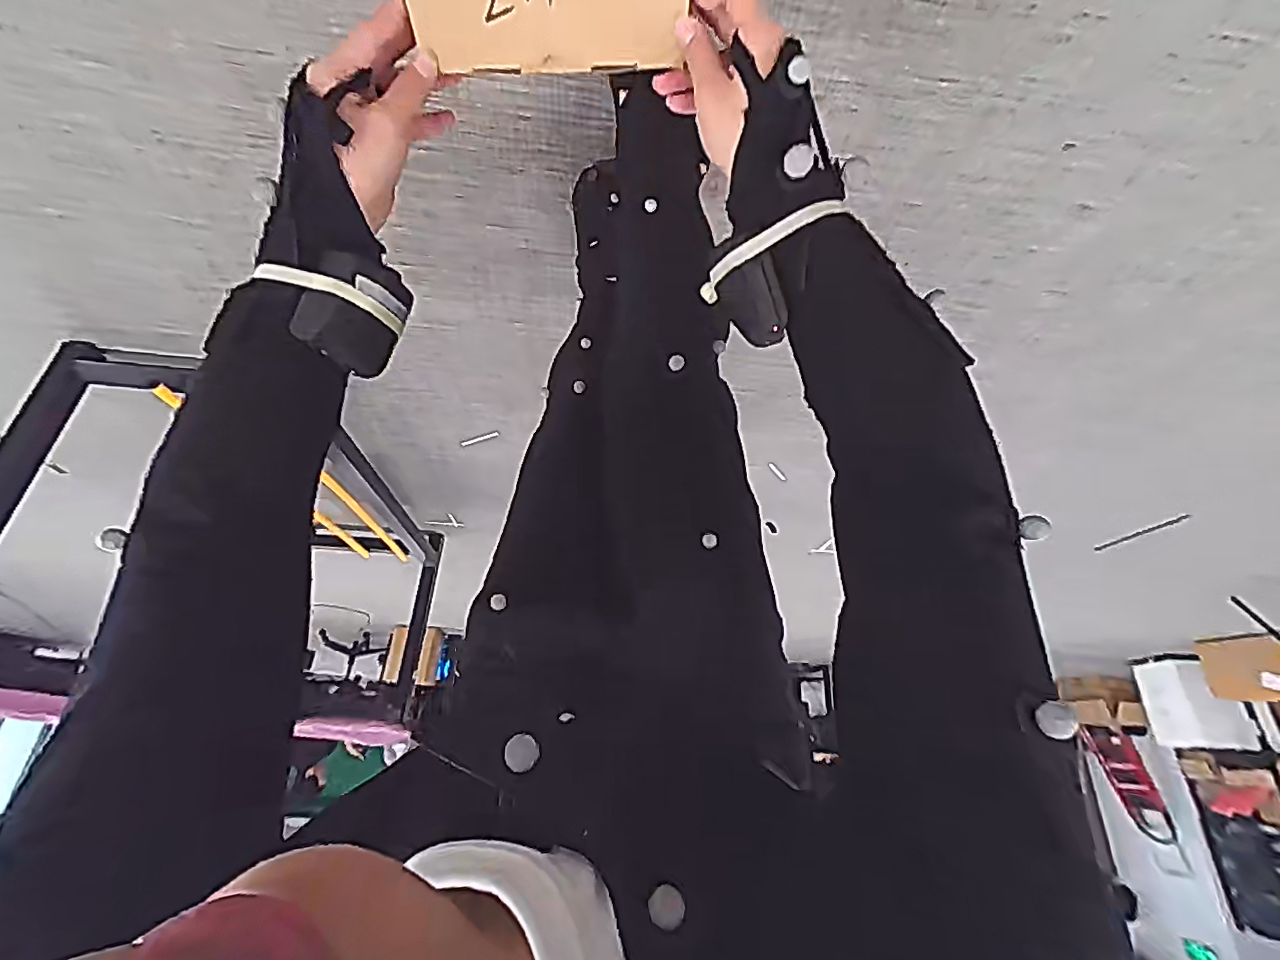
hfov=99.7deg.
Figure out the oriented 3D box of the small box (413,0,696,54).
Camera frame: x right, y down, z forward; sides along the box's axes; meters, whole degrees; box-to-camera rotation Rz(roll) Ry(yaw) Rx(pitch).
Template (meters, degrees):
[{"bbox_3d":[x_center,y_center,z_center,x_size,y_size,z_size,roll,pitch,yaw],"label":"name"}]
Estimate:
[{"bbox_3d":[-0.051,-0.377,0.321,0.168,0.176,0.179,-1,137,0],"label":"small box"}]
